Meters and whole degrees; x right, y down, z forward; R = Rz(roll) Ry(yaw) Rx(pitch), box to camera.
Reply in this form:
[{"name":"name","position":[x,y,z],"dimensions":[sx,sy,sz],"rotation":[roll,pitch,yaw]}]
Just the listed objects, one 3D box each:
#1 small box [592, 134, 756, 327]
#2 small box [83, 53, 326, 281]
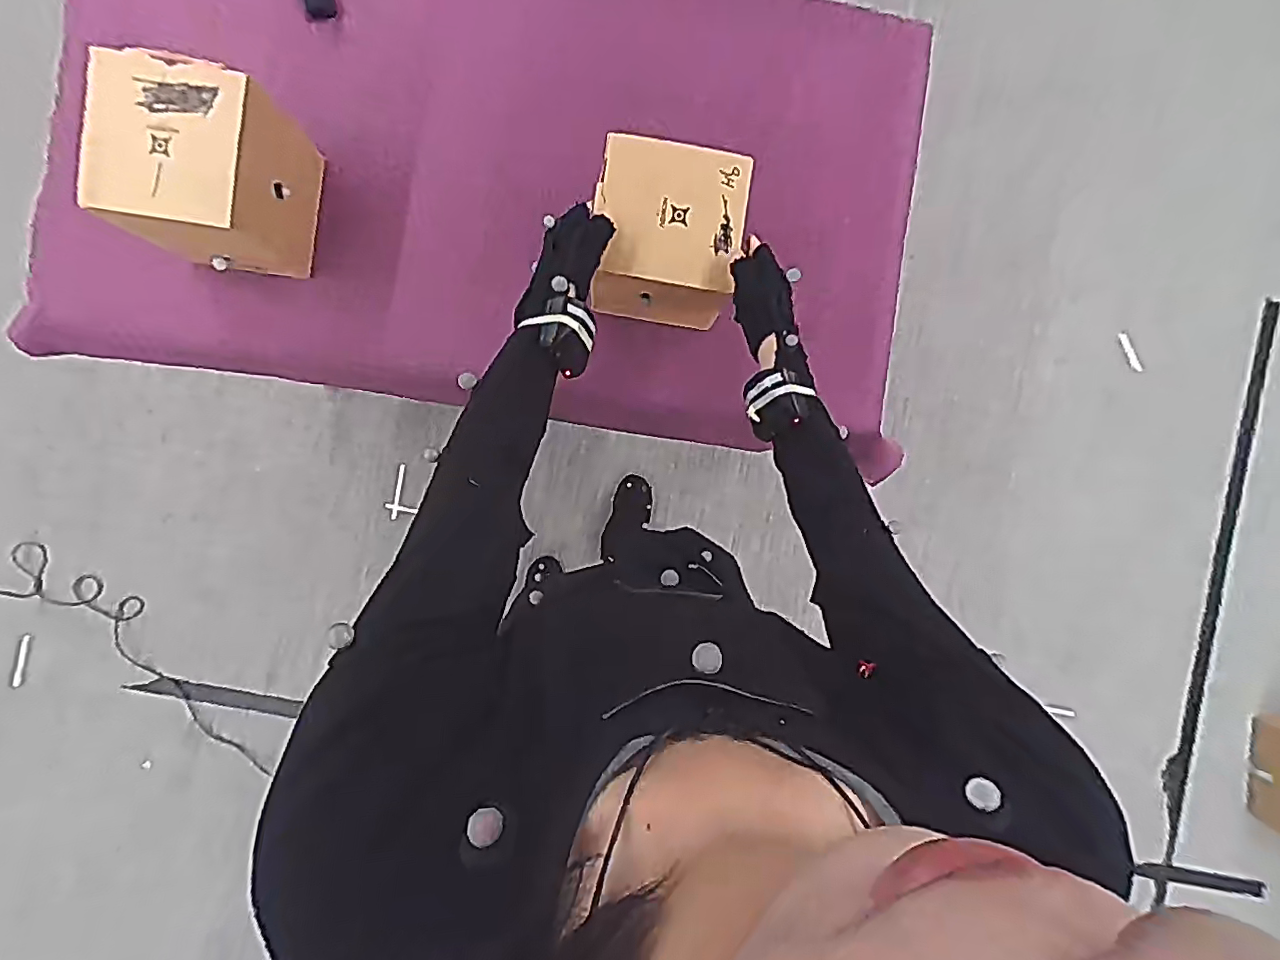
[{"name":"small box","position":[0.036,-0.313,0.715],"dimensions":[0.179,0.176,0.168],"rotation":[8,90,-4]},{"name":"small box","position":[-0.525,-0.375,0.679],"dimensions":[0.168,0.176,0.179],"rotation":[7,91,-3]}]
